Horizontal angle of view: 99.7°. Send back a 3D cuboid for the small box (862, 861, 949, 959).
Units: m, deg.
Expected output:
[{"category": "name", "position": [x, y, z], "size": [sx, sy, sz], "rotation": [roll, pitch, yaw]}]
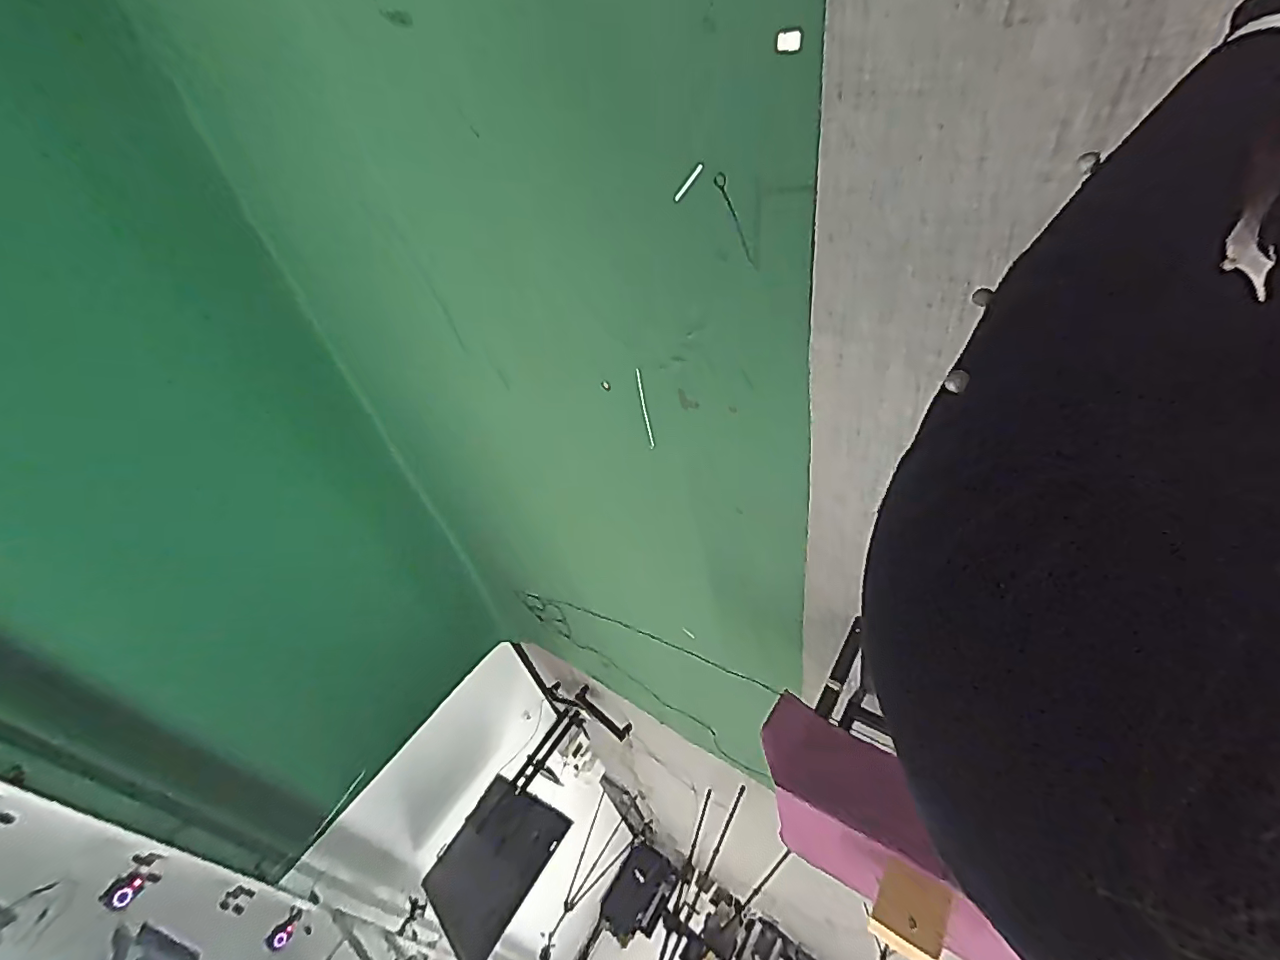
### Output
[{"category": "small box", "position": [0.744, 1.219, 1.513], "size": [0.179, 0.176, 0.168], "rotation": [18, 139, 33]}]
